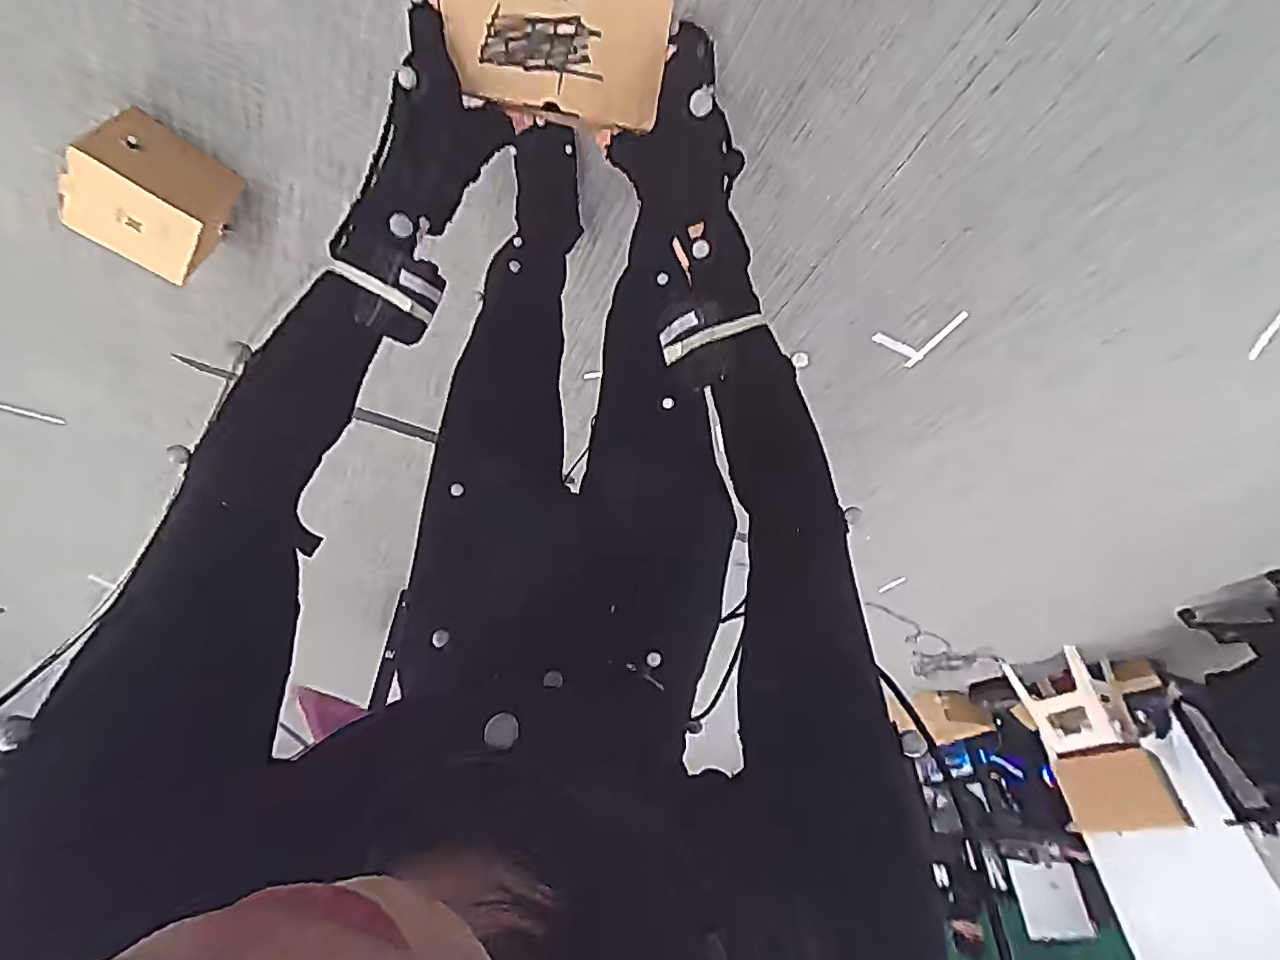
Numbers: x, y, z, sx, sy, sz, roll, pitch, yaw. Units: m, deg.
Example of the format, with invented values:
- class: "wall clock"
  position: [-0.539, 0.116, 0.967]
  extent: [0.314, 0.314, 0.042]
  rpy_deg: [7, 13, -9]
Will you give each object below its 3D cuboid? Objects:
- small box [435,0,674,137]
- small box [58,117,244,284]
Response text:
- class: "small box"
  position: [-0.063, -0.397, 0.433]
  extent: [0.168, 0.176, 0.179]
  rpy_deg: [5, 124, -12]
- class: "small box"
  position: [-0.843, -0.490, 0.943]
  extent: [0.179, 0.176, 0.168]
  rpy_deg: [31, 132, -34]
